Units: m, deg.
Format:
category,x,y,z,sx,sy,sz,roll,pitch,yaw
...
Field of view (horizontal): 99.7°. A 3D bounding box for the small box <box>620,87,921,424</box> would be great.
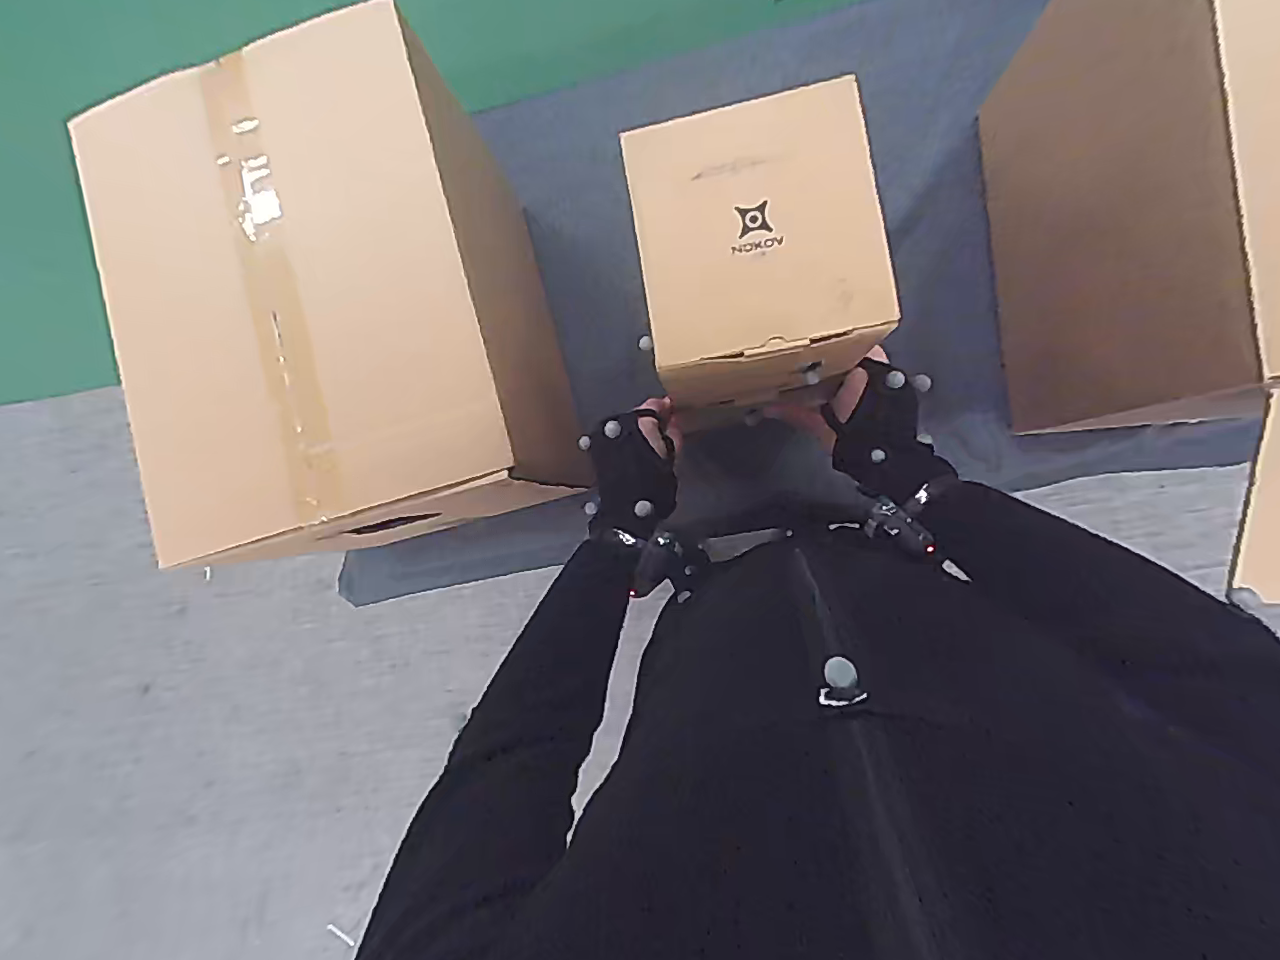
category,x,y,z,sx,sy,sz,roll,pitch,yaw
small box,0.090,-0.145,0.423,0.168,0.176,0.179,-11,86,7
